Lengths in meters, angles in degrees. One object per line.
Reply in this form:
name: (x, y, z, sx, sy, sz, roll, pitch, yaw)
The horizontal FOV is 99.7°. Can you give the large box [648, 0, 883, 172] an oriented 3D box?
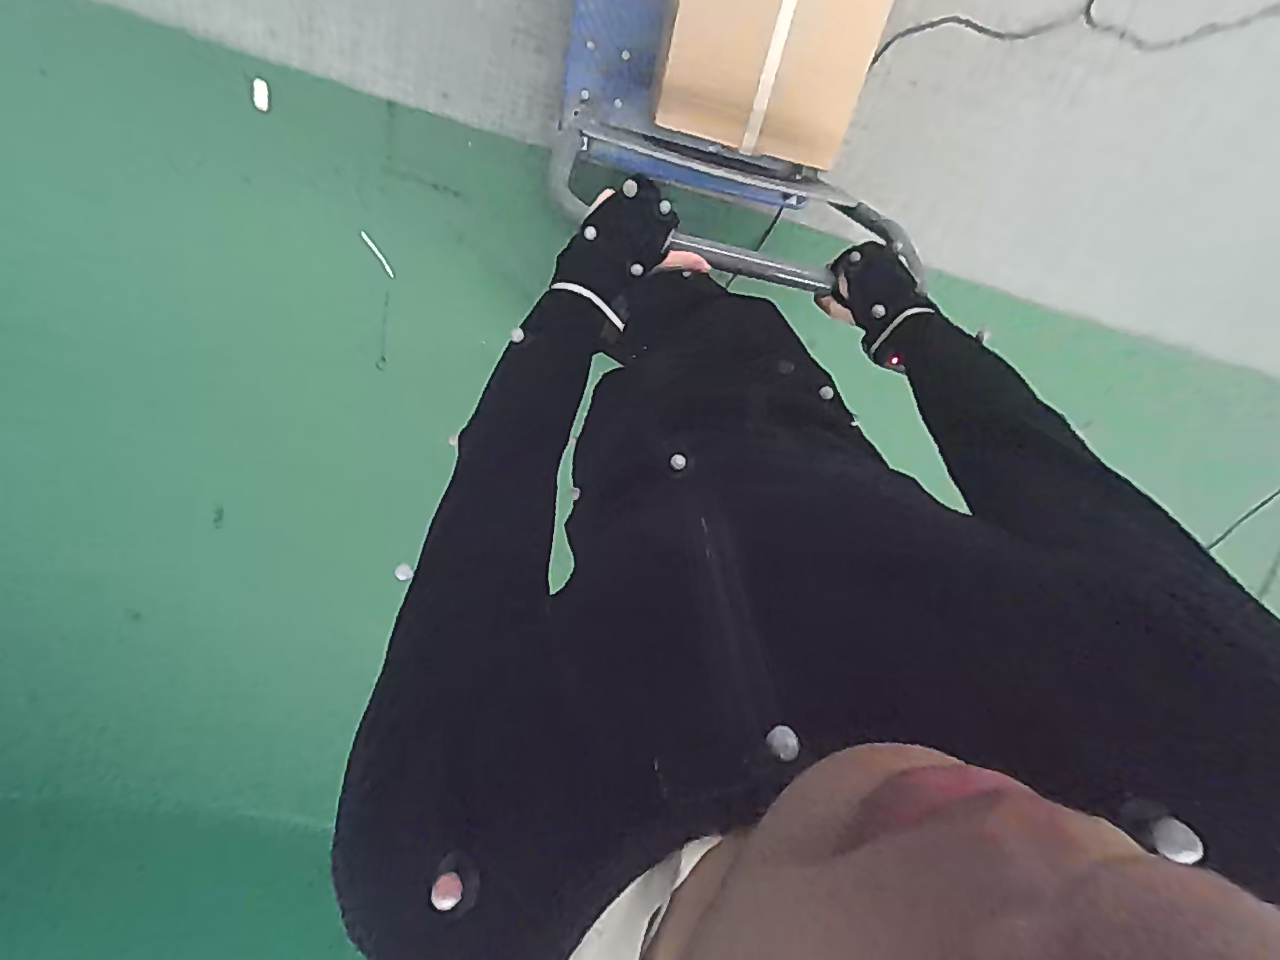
large box: (0.205, -0.800, 0.940, 0.320, 0.320, 0.408, 10, 122, -10)
